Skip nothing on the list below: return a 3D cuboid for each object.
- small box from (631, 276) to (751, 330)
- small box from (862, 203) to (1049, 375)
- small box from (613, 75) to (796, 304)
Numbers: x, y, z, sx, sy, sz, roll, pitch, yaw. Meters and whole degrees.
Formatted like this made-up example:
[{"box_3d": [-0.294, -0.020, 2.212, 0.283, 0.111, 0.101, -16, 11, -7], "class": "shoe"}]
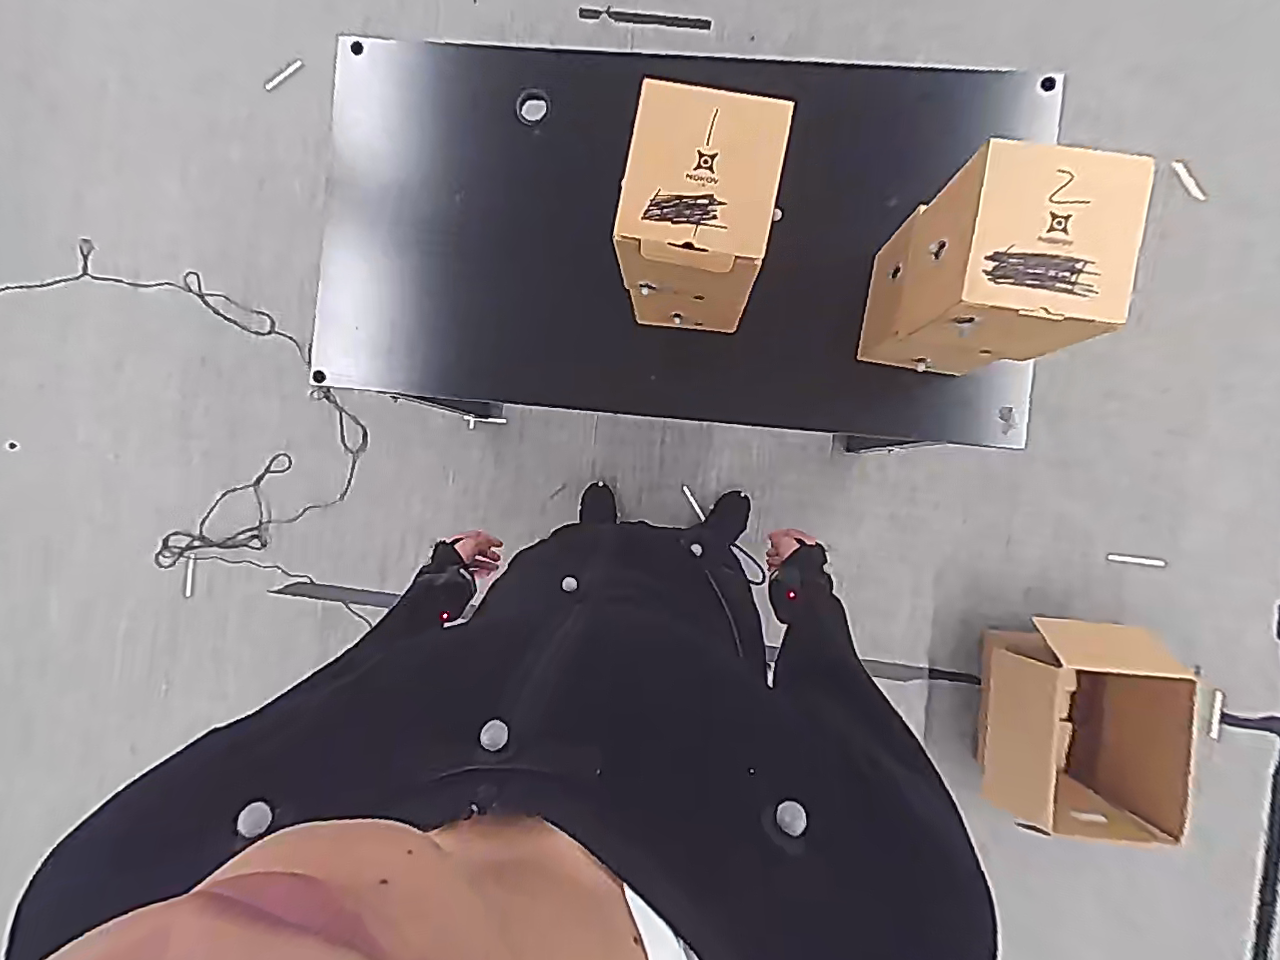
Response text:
[{"box_3d": [0.082, -0.342, 0.813, 0.168, 0.176, 0.179, 7, 92, 3], "class": "small box"}, {"box_3d": [0.443, -0.266, 0.789, 0.168, 0.176, 0.179, 11, 91, 4], "class": "small box"}, {"box_3d": [0.072, -0.330, 0.650, 0.168, 0.176, 0.179, 12, 91, 3], "class": "small box"}]
